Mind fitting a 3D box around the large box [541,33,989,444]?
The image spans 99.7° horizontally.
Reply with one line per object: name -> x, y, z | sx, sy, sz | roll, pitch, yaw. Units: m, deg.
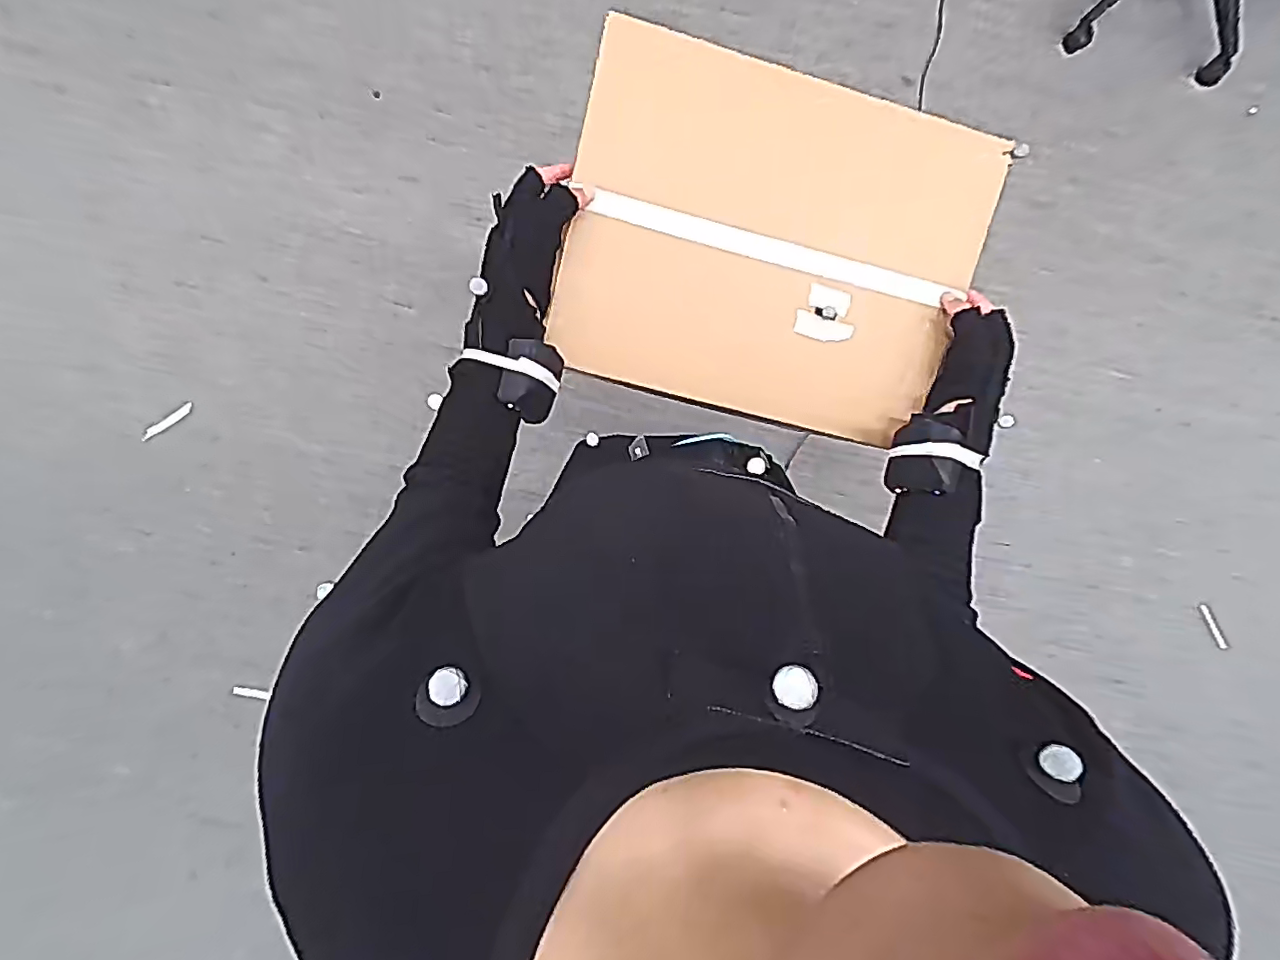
large box -> 0.112, -0.252, 0.688 | 0.408, 0.320, 0.320 | 14, 100, -7
